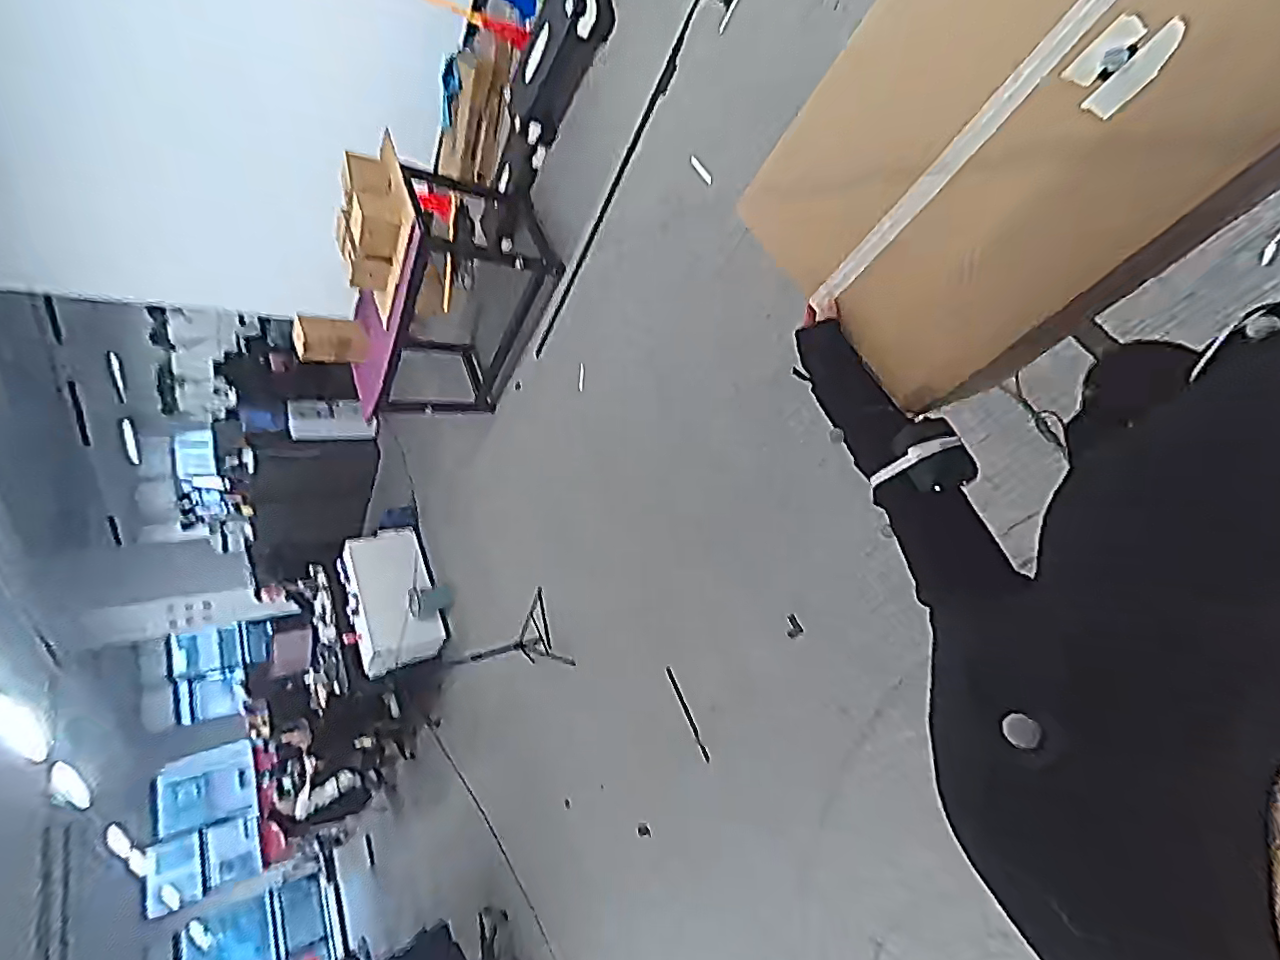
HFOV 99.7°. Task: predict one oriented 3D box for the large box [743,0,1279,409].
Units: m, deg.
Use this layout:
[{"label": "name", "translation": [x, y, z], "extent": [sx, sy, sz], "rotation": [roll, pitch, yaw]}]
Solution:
[{"label": "large box", "translation": [0.394, -0.328, 0.554], "extent": [0.320, 0.320, 0.408], "rotation": [57, 133, 16]}]
